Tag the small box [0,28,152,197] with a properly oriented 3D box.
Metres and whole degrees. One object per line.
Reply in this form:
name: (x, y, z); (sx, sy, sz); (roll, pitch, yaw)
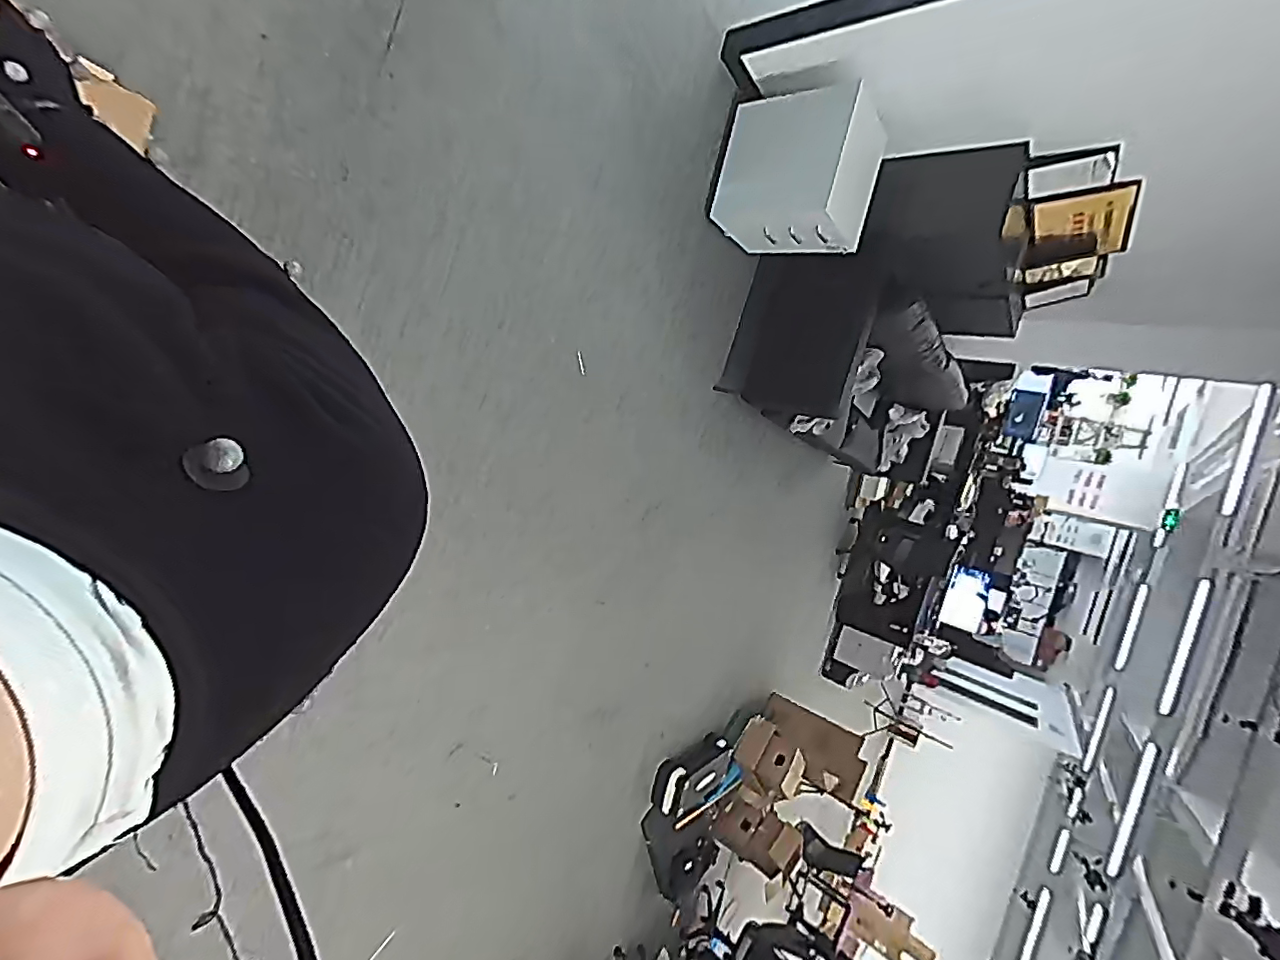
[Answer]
small box: (-1.018, -0.638, 0.963); (0.168, 0.176, 0.179); (21, 88, -51)
